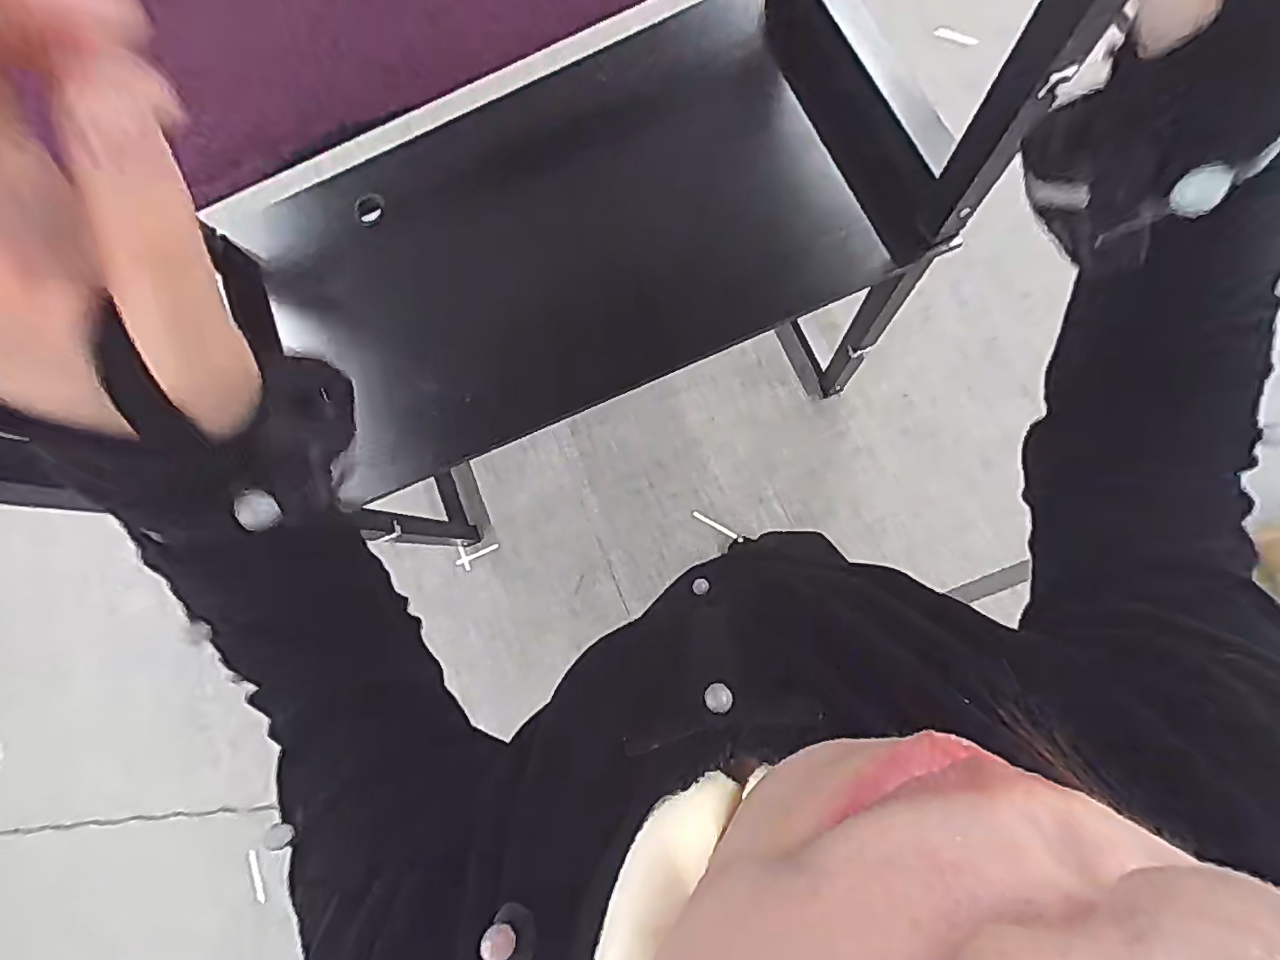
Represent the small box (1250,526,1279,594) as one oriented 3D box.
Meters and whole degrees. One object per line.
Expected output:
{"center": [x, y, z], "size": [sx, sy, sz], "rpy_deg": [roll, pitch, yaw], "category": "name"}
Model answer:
{"center": [1.599, 0.184, 1.242], "size": [0.168, 0.176, 0.179], "rpy_deg": [-22, 80, 3], "category": "small box"}
